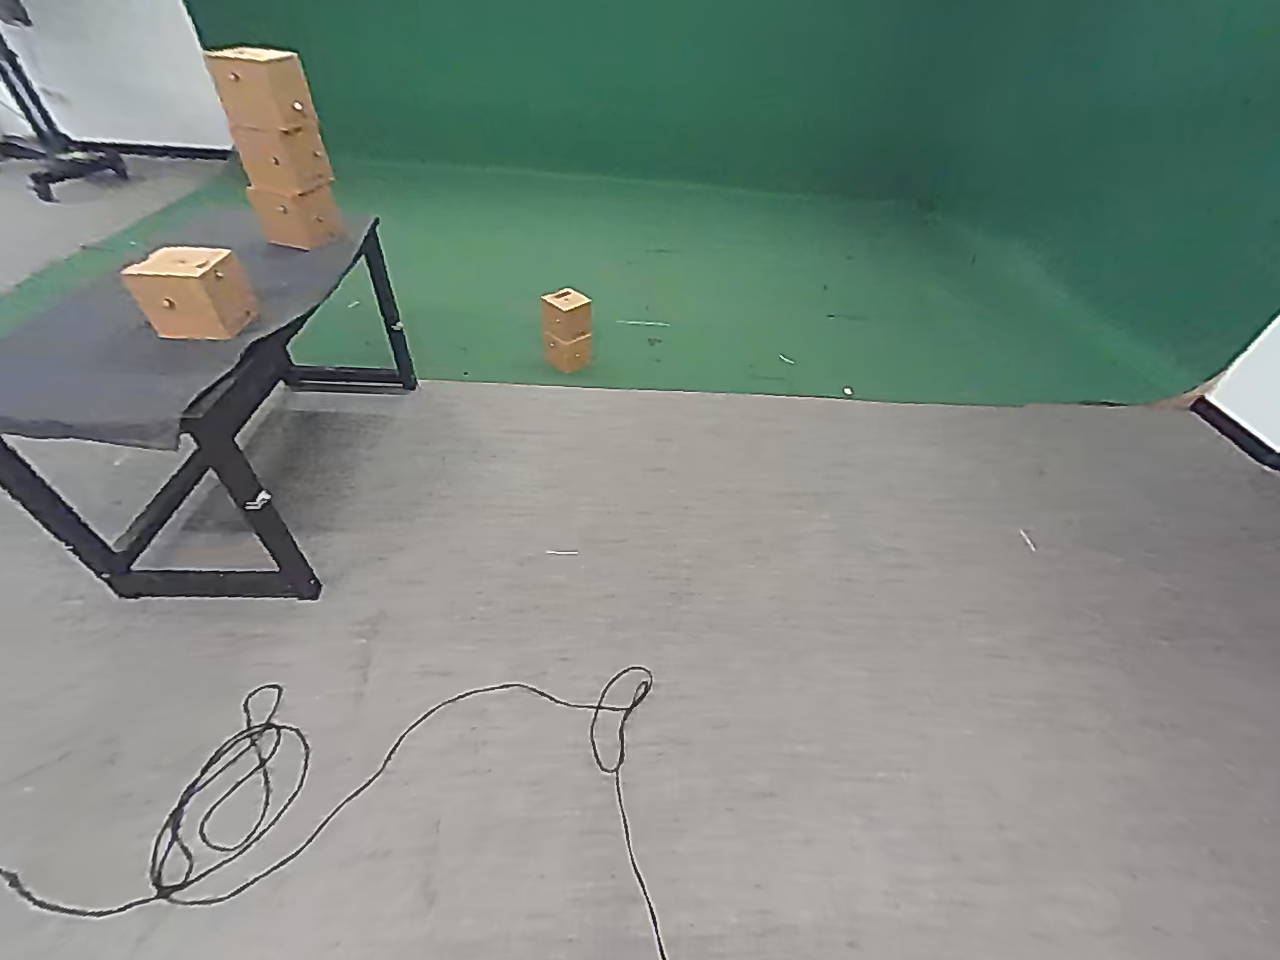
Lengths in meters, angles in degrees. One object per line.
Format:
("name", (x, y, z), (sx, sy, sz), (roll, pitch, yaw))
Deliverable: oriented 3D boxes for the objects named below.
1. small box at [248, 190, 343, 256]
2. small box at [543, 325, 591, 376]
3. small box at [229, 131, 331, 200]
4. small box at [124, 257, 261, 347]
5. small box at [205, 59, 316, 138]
("small box", (-1.124, -0.857, 1.781), (0.179, 0.176, 0.168), (14, 44, 13))
("small box", (-0.358, -0.635, 2.679), (0.179, 0.176, 0.168), (36, 52, 29))
("small box", (-1.107, -0.986, 1.683), (0.179, 0.176, 0.168), (10, 43, 9))
("small box", (-1.116, -0.449, 1.365), (0.179, 0.176, 0.168), (0, 44, -3))
("small box", (-1.094, -1.109, 1.574), (0.179, 0.176, 0.168), (7, 44, 4))
